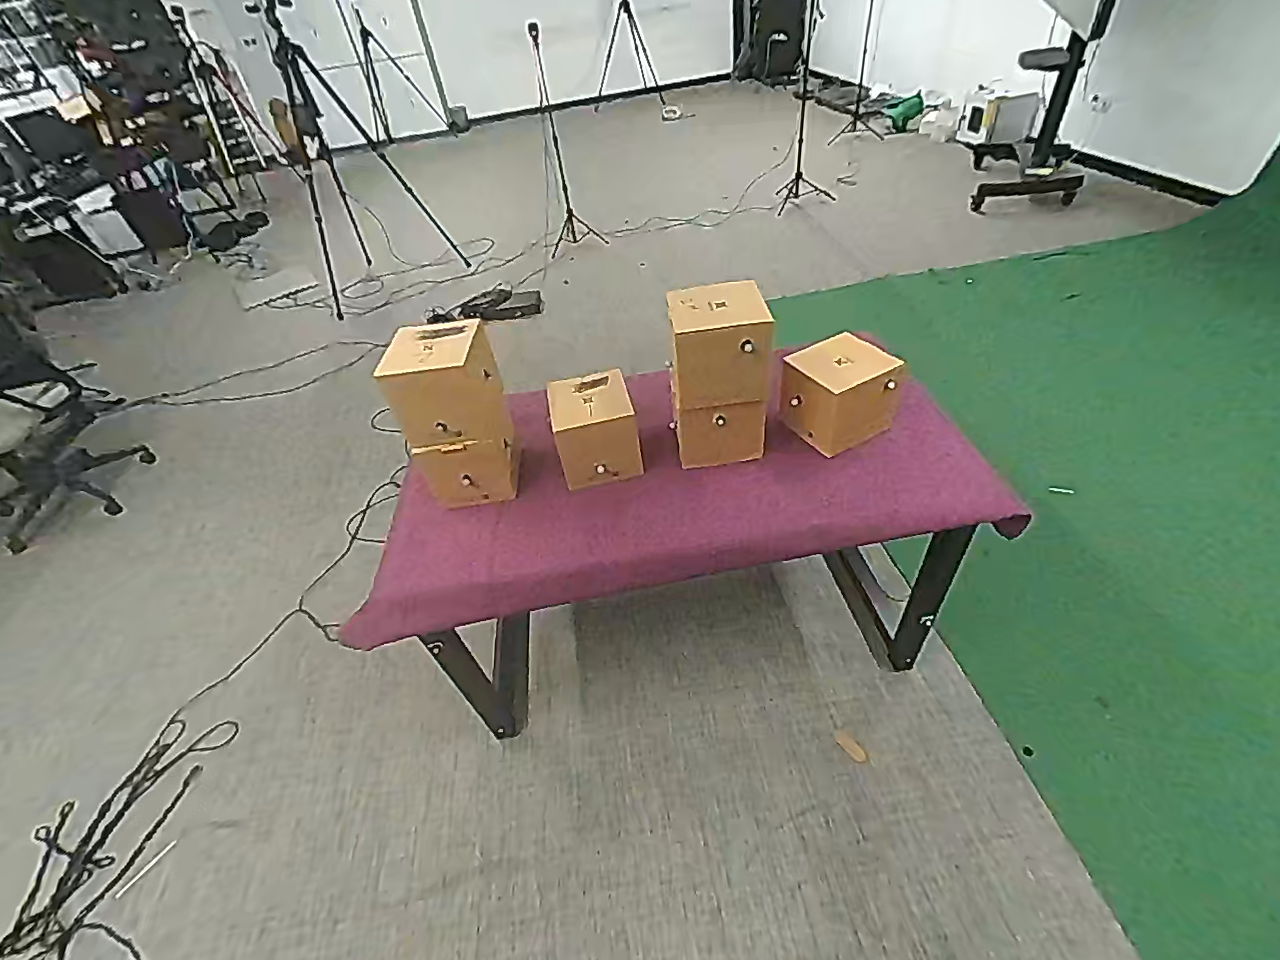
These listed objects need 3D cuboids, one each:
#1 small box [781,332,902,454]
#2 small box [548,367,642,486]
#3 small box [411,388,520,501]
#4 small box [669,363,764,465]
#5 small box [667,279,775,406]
[{"bbox_3d":[0.418,-0.183,1.149,0.179,0.176,0.168,-24,45,-15],"label":"small box"},{"bbox_3d":[-0.096,-0.113,1.158,0.168,0.176,0.179,-13,44,-3],"label":"small box"},{"bbox_3d":[-0.361,-0.070,1.156,0.168,0.176,0.179,-8,44,0],"label":"small box"},{"bbox_3d":[0.161,-0.148,1.154,0.179,0.176,0.168,-7,44,2],"label":"small box"},{"bbox_3d":[0.149,-0.260,1.035,0.179,0.176,0.168,-7,44,3],"label":"small box"}]
